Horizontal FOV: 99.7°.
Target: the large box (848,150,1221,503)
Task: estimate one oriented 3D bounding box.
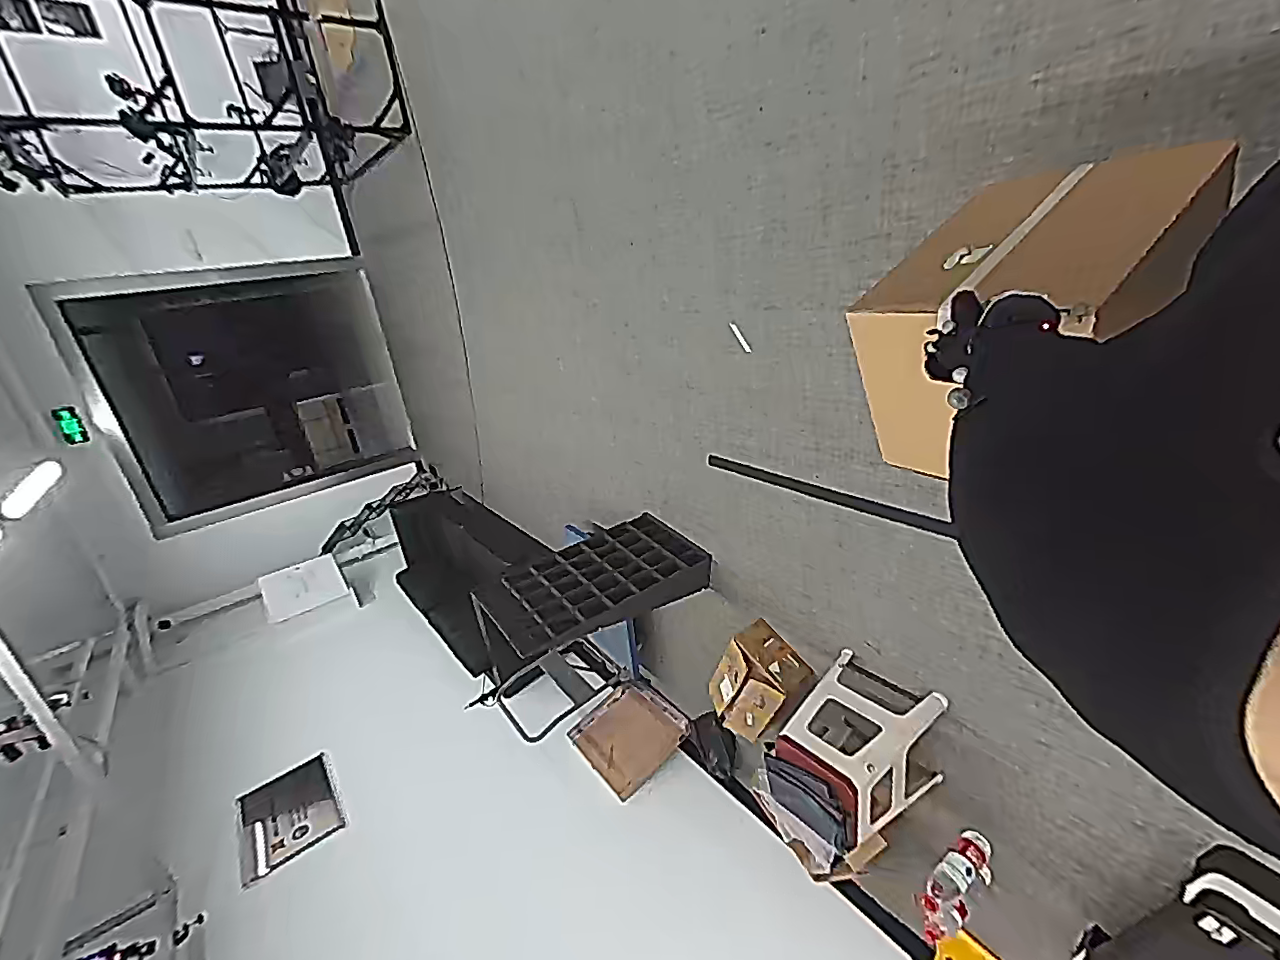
[{"bbox_3d":[0.604,-0.236,0.848,0.320,0.408,0.320,25,152,54],"label":"large box"}]
